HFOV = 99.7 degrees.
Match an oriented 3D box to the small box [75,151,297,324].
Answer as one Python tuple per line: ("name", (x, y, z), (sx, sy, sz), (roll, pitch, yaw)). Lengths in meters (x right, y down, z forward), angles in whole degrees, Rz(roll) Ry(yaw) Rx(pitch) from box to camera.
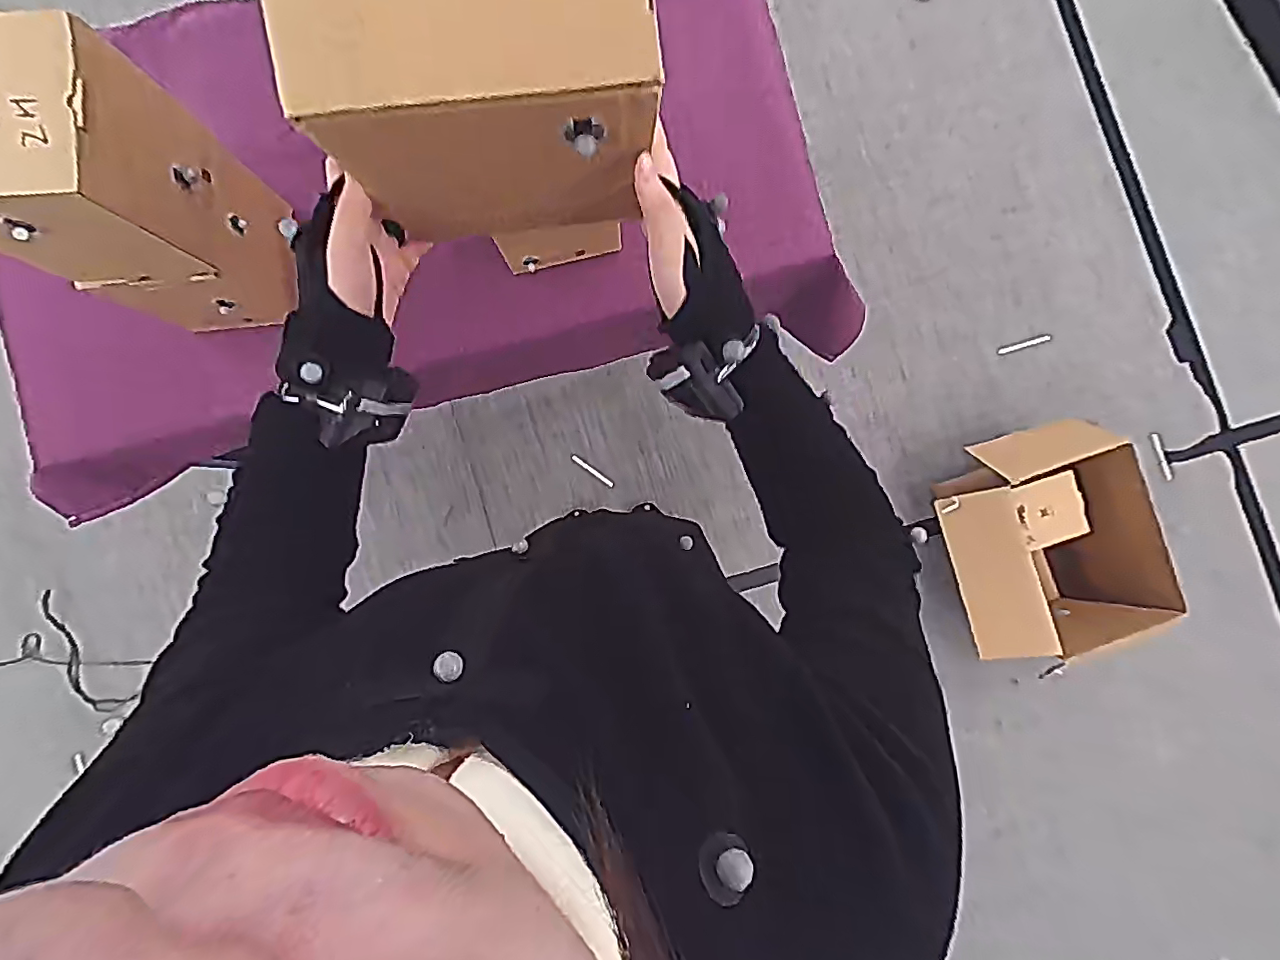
("small box", (-0.583, -0.314, 0.712), (0.168, 0.176, 0.179), (-5, 88, -1))

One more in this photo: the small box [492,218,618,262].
("small box", (-0.128, -0.409, 0.714), (0.168, 0.176, 0.179), (-13, 87, -1))

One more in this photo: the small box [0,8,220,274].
("small box", (-0.576, -0.322, 0.548), (0.179, 0.176, 0.168), (-4, 89, -1))

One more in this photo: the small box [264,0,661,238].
("small box", (-0.089, -0.259, 0.319), (0.179, 0.176, 0.168), (-8, 96, -3))
